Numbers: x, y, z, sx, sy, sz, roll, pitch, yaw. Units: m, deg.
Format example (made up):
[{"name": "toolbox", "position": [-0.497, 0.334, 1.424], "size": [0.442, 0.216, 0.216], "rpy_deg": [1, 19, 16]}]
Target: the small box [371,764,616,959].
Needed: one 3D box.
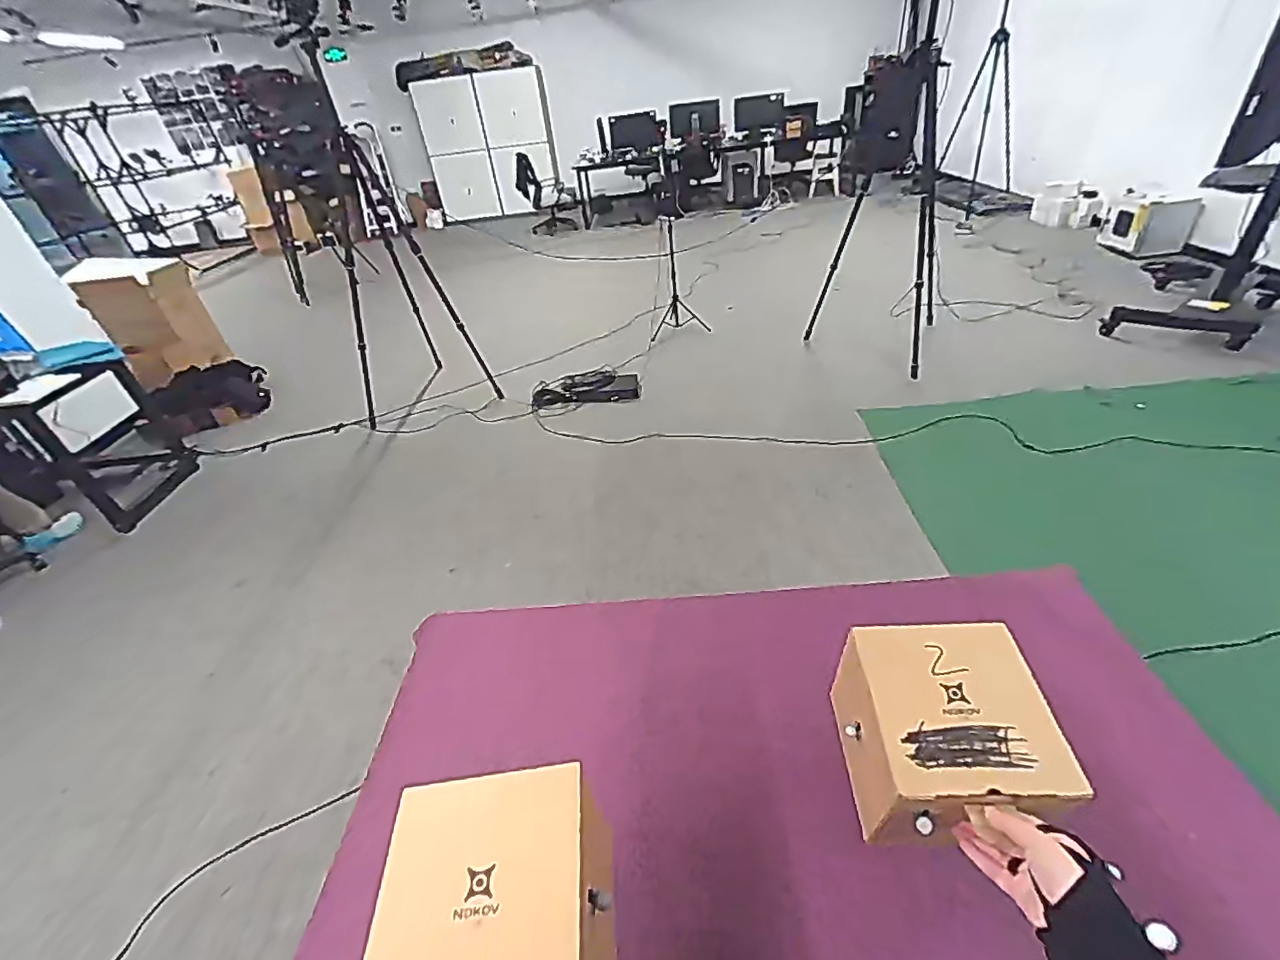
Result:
[{"name": "small box", "position": [-0.116, 0.392, 0.490], "size": [0.168, 0.176, 0.179], "rpy_deg": [-9, 40, 1]}]
